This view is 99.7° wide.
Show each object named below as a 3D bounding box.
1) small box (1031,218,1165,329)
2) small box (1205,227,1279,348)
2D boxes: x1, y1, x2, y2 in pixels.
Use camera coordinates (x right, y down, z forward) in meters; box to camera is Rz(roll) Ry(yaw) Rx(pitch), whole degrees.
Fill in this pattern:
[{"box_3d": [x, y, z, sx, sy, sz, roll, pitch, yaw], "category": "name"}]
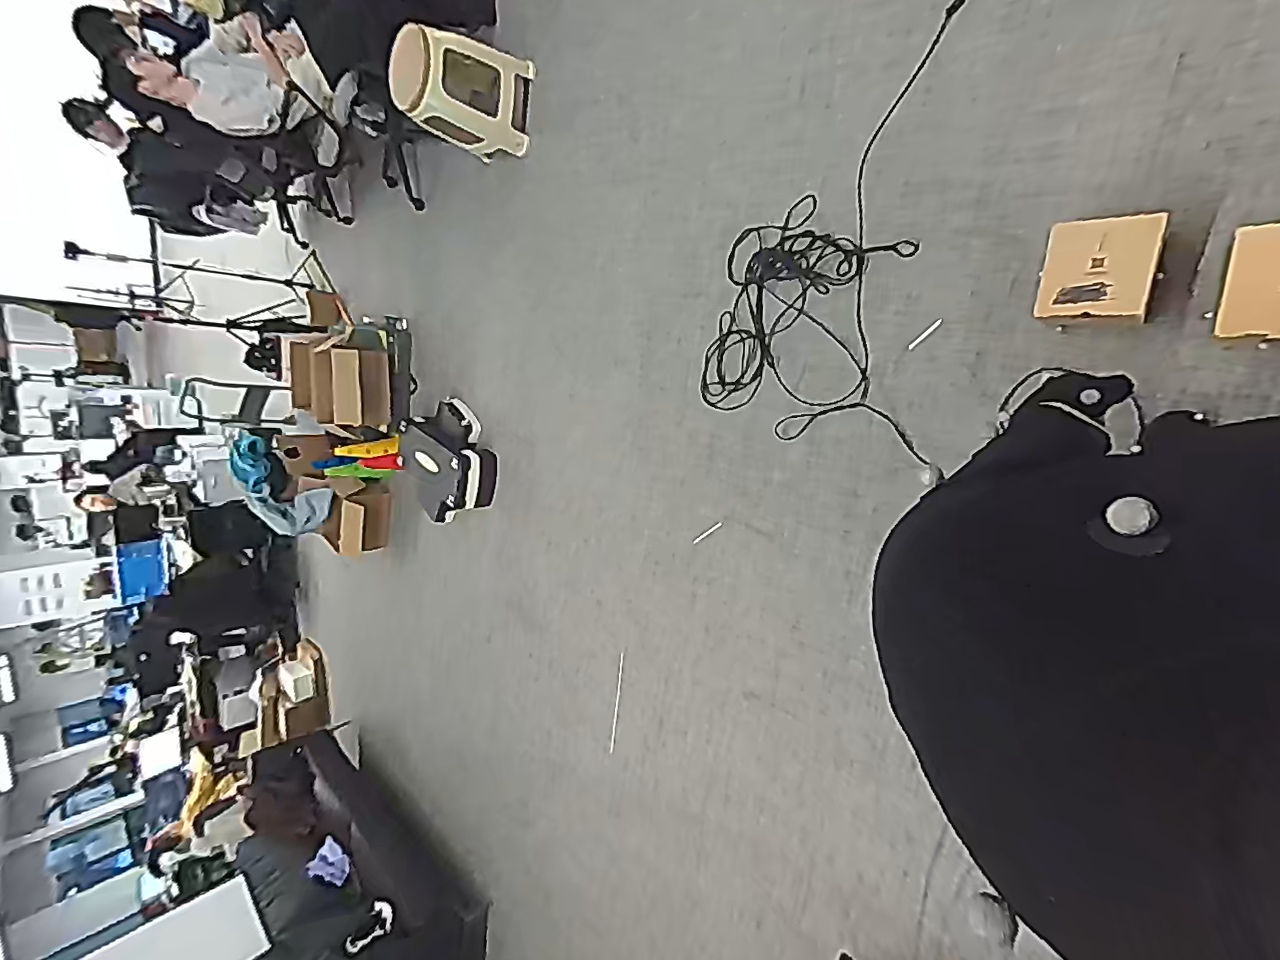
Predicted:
[{"box_3d": [0.897, -0.394, 1.062, 0.168, 0.176, 0.179, 15, 104, 40], "category": "small box"}, {"box_3d": [1.082, -0.317, 0.904, 0.168, 0.176, 0.179, 11, 104, 41], "category": "small box"}]
